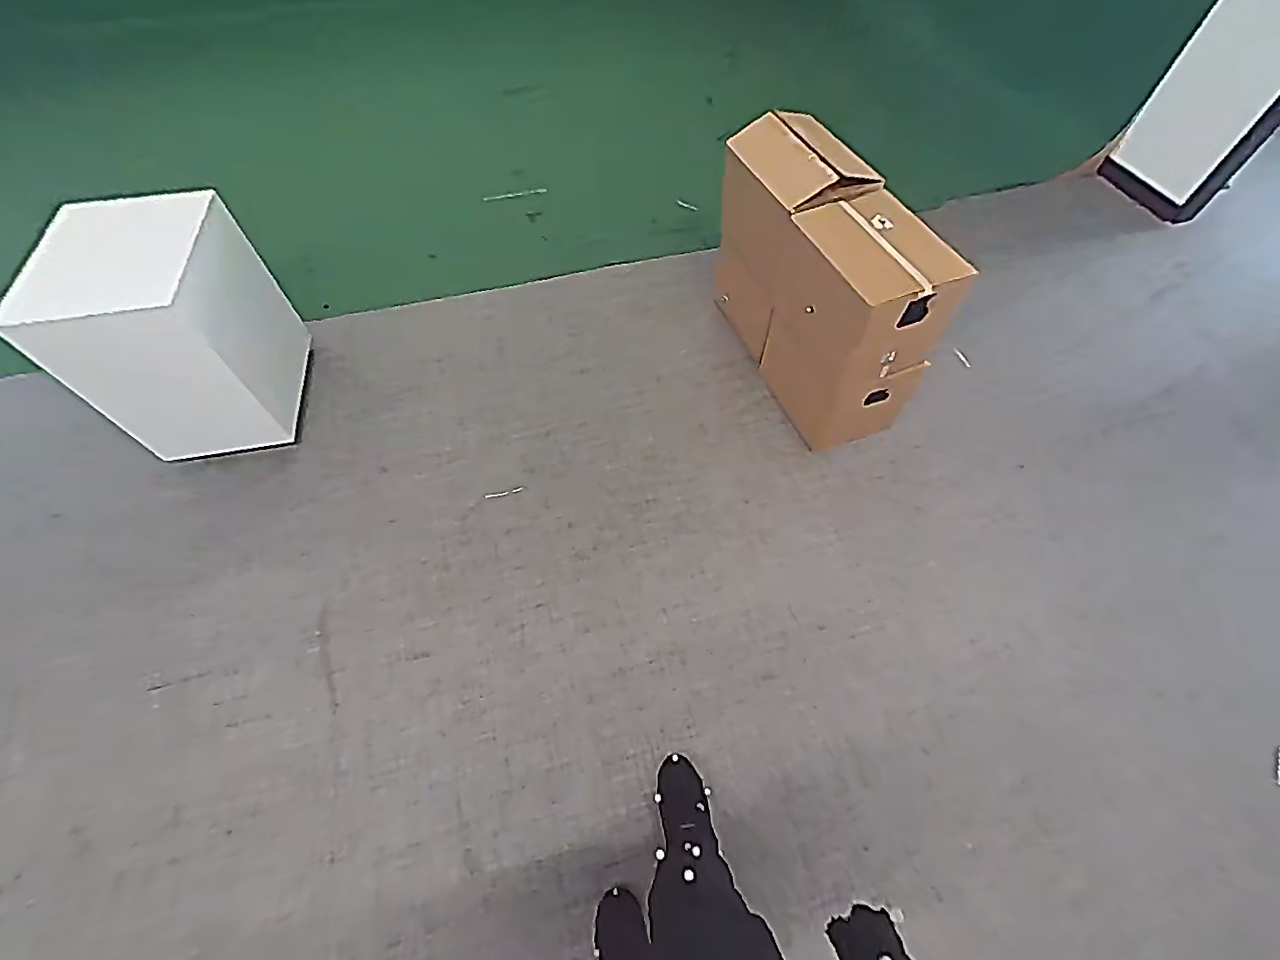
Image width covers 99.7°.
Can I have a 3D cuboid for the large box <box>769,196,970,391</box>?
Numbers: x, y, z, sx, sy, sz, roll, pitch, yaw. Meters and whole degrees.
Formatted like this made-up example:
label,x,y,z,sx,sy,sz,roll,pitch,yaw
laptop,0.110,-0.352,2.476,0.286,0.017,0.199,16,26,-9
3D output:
label,x,y,z,sx,sy,sz,roll,pitch,yaw
large box,0.618,-0.529,1.542,0.320,0.320,0.408,-19,58,-10
